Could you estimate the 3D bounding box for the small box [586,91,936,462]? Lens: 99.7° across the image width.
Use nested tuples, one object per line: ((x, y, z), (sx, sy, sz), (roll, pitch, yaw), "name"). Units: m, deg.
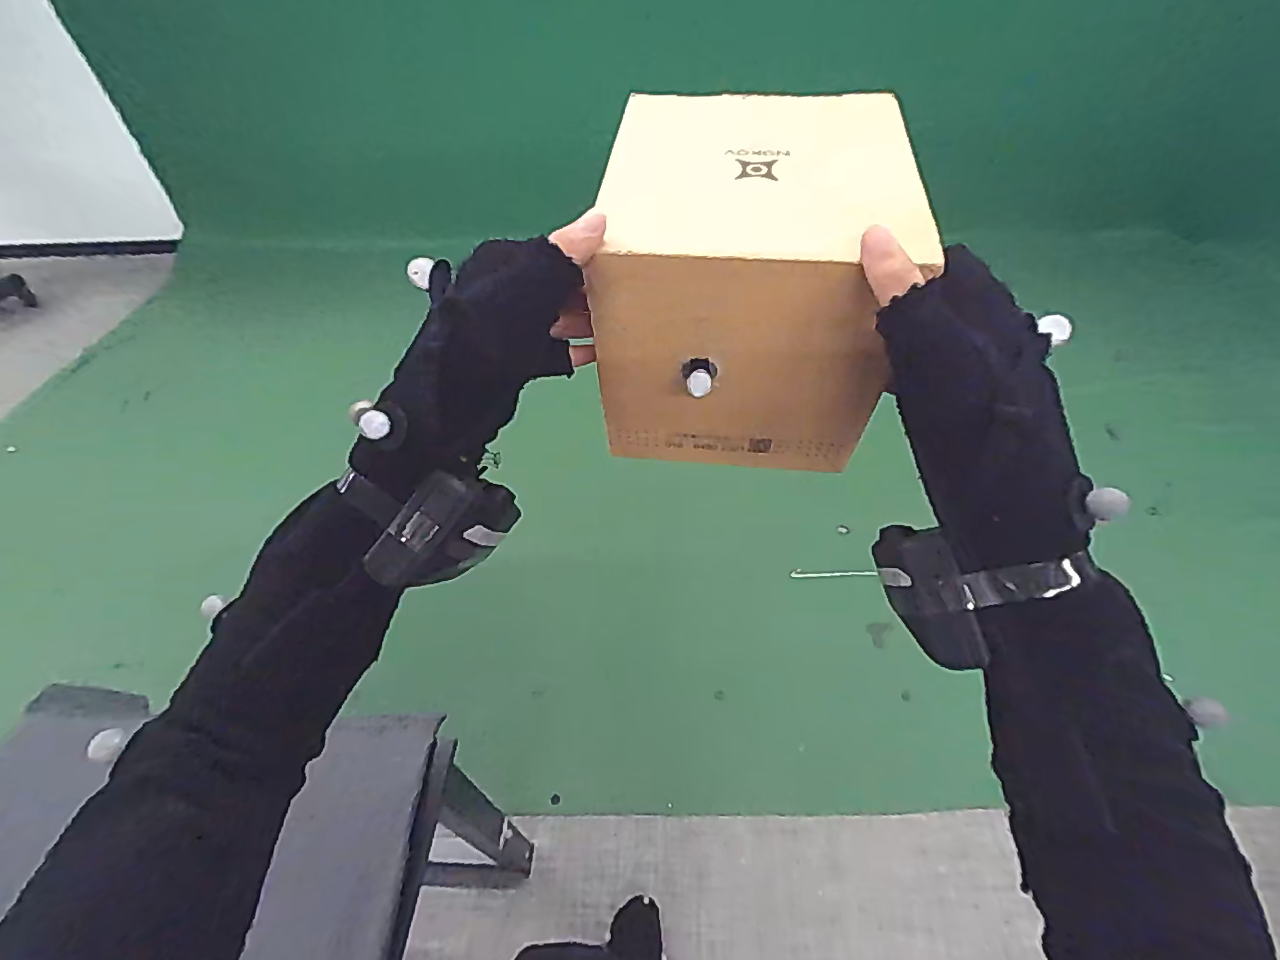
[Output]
((0.069, -0.129, 0.363), (0.168, 0.176, 0.179), (4, 55, 6), "small box")
